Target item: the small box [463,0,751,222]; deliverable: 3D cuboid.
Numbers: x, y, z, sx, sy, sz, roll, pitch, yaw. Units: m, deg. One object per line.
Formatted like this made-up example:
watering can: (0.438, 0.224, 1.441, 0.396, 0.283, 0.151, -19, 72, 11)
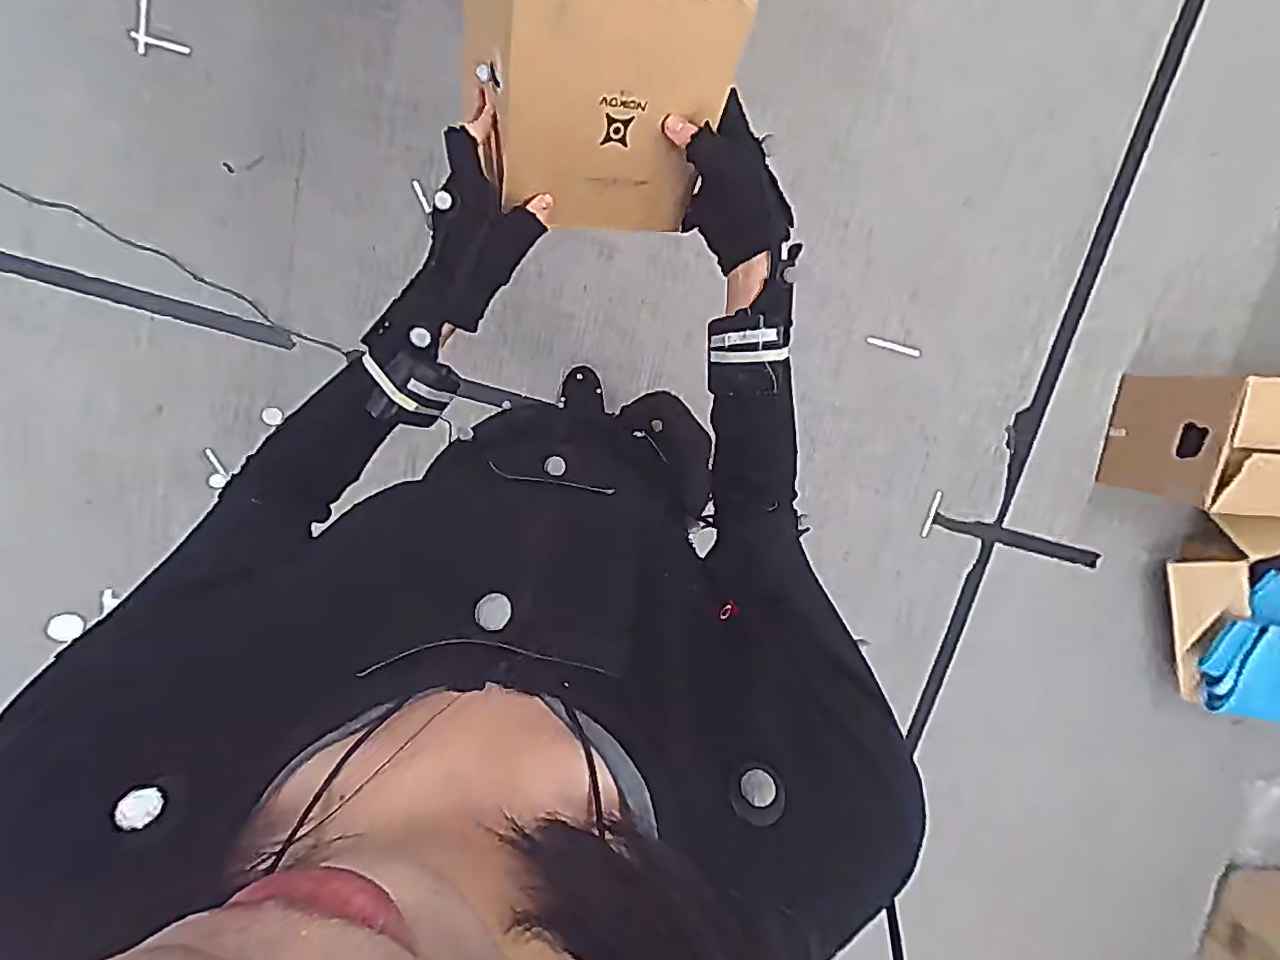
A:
small box: (-0.044, -0.338, 0.431, 0.168, 0.179, 0.176, -8, 62, -22)
